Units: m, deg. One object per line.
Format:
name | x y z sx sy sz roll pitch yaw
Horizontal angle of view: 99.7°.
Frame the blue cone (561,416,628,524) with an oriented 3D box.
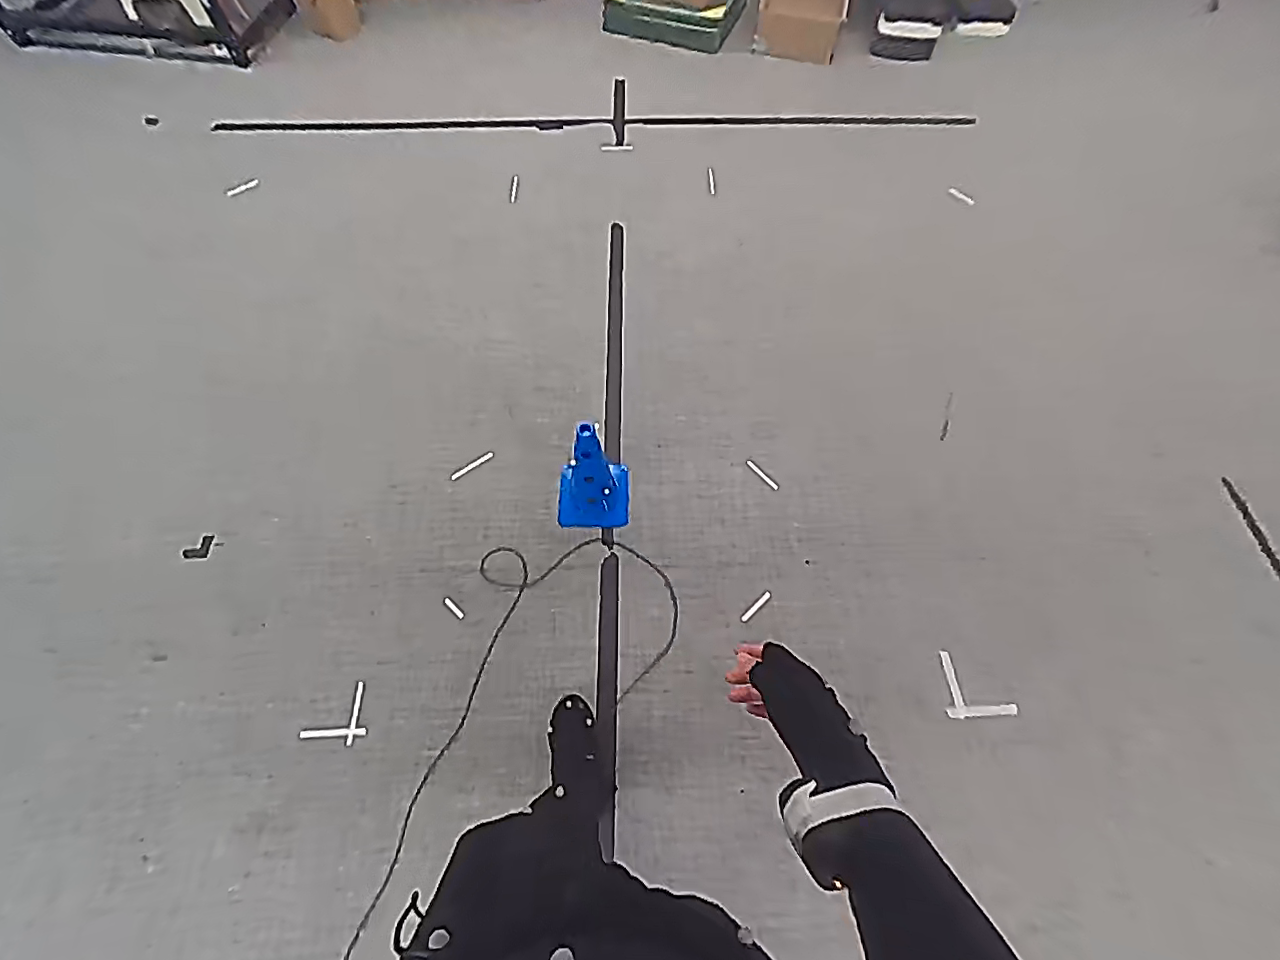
blue cone | -0.130 -0.038 1.389 0.193 0.380 0.192 -2 63 -1
